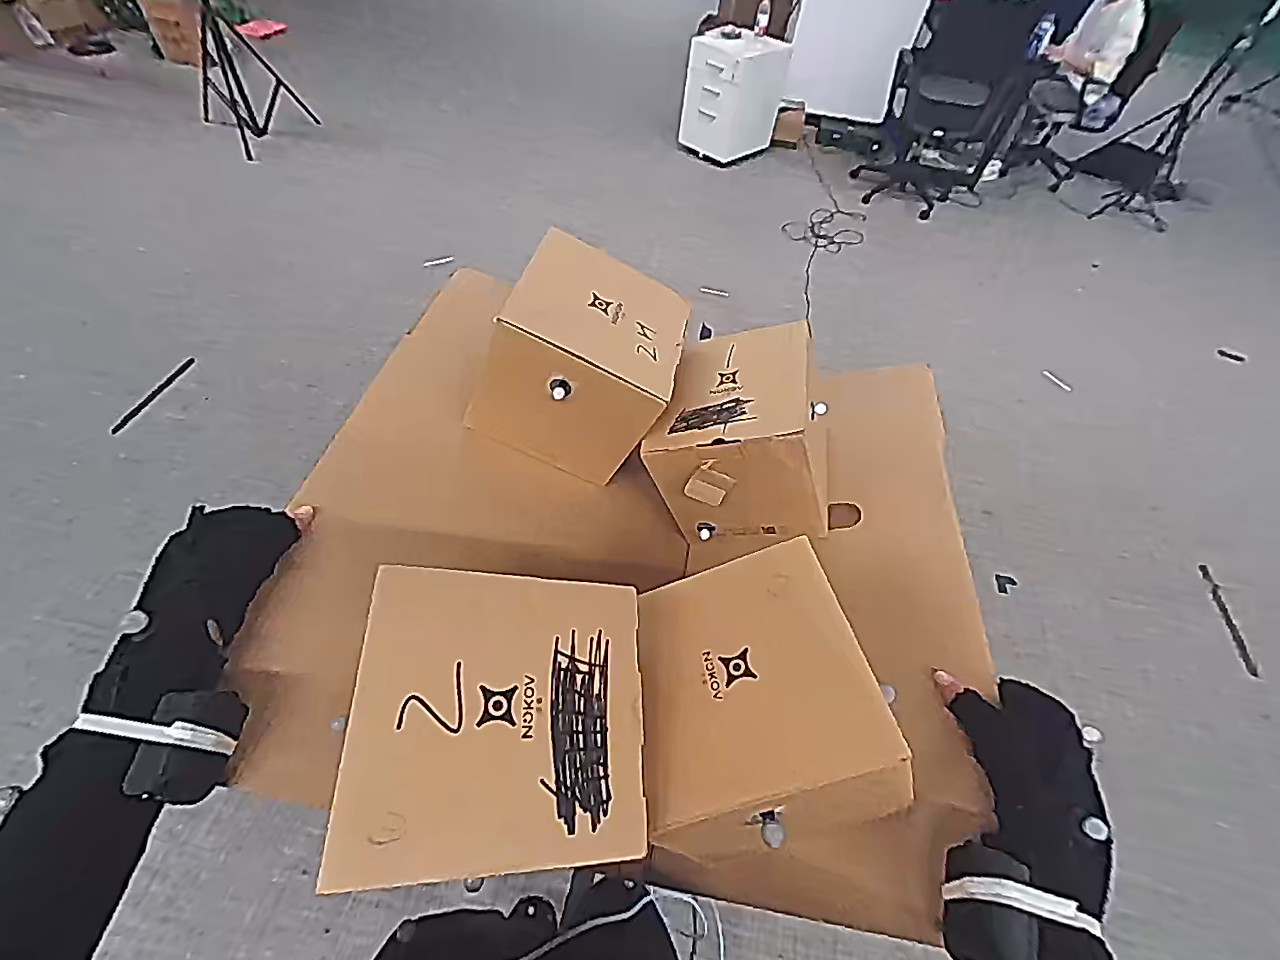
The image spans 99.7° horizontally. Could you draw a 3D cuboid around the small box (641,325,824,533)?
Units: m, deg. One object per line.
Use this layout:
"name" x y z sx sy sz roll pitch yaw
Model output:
"small box" 0.121 -0.049 0.635 0.168 0.176 0.179 -5 48 24
